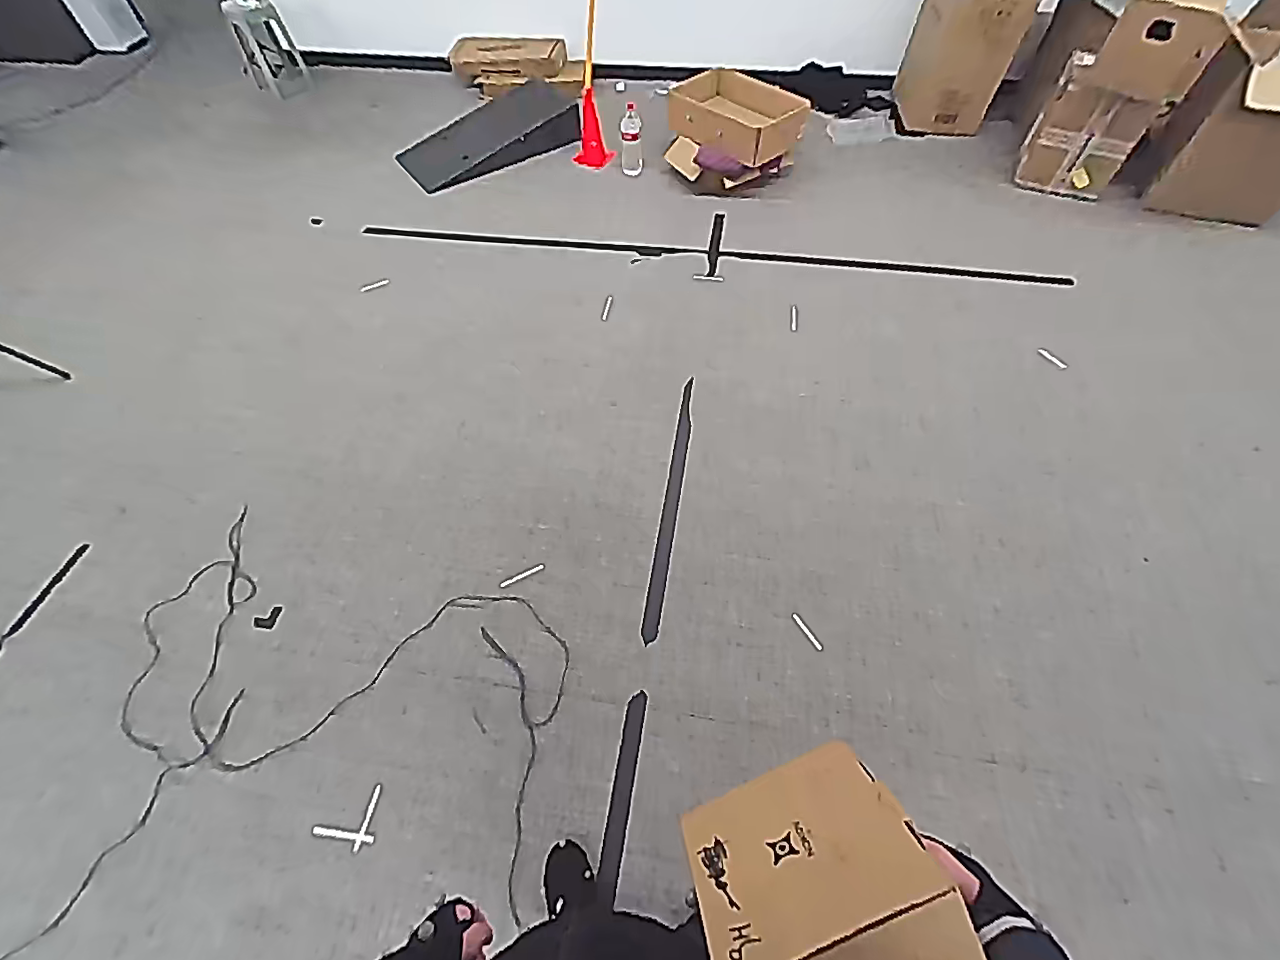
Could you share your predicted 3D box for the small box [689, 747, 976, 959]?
[{"bbox_3d":[0.163,0.379,0.461,0.179,0.168,0.176,-24,98,-2],"label":"small box"}]
